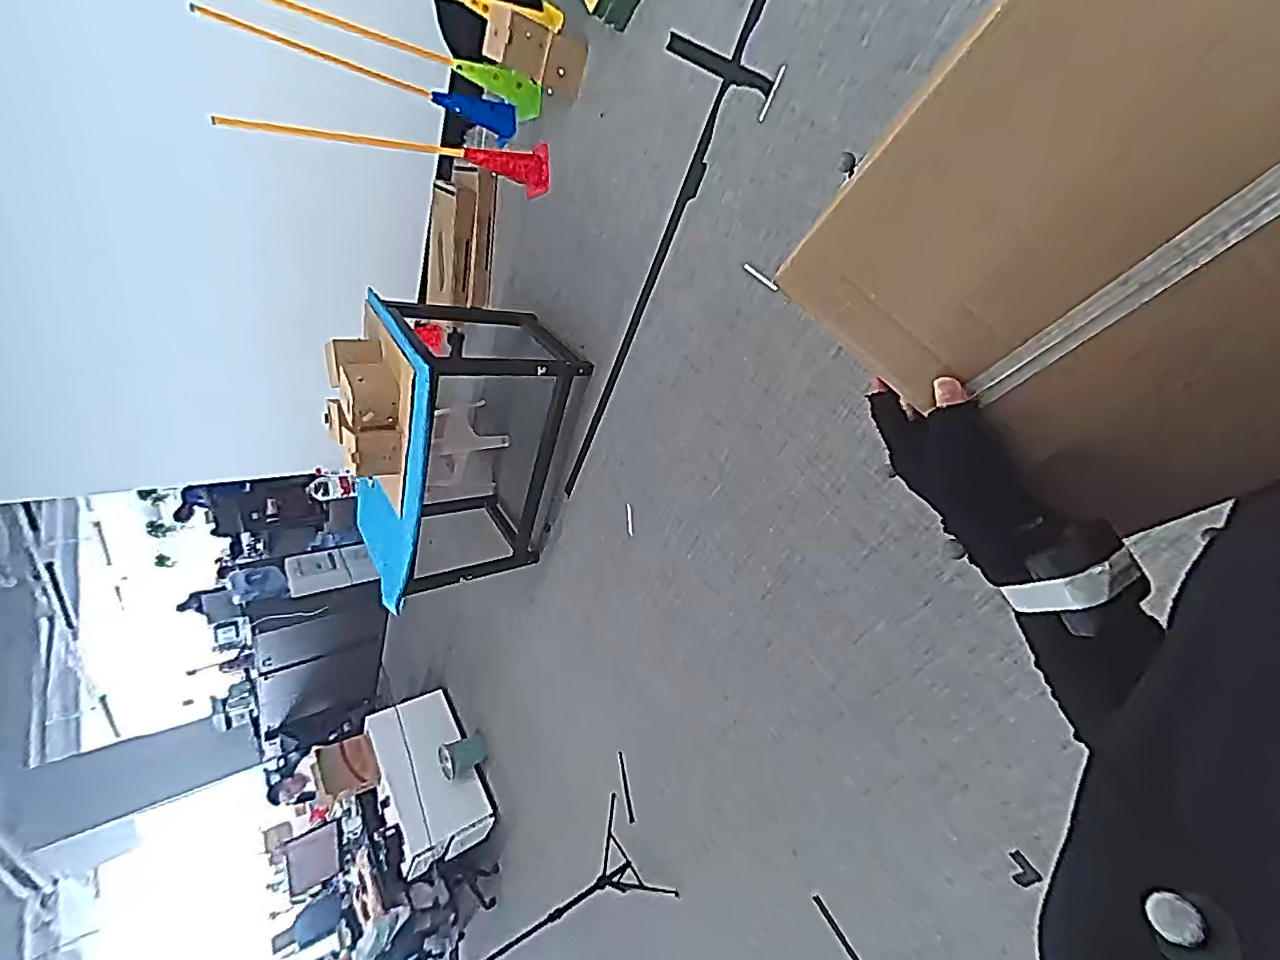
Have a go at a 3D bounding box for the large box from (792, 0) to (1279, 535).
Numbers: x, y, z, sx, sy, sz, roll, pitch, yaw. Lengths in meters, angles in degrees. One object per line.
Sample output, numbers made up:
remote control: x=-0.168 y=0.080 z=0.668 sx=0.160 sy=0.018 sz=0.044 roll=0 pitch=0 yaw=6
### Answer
large box: x=0.378 y=-0.238 z=0.362 sx=0.320 sy=0.320 sz=0.408 roll=38 pitch=138 yaw=-4
